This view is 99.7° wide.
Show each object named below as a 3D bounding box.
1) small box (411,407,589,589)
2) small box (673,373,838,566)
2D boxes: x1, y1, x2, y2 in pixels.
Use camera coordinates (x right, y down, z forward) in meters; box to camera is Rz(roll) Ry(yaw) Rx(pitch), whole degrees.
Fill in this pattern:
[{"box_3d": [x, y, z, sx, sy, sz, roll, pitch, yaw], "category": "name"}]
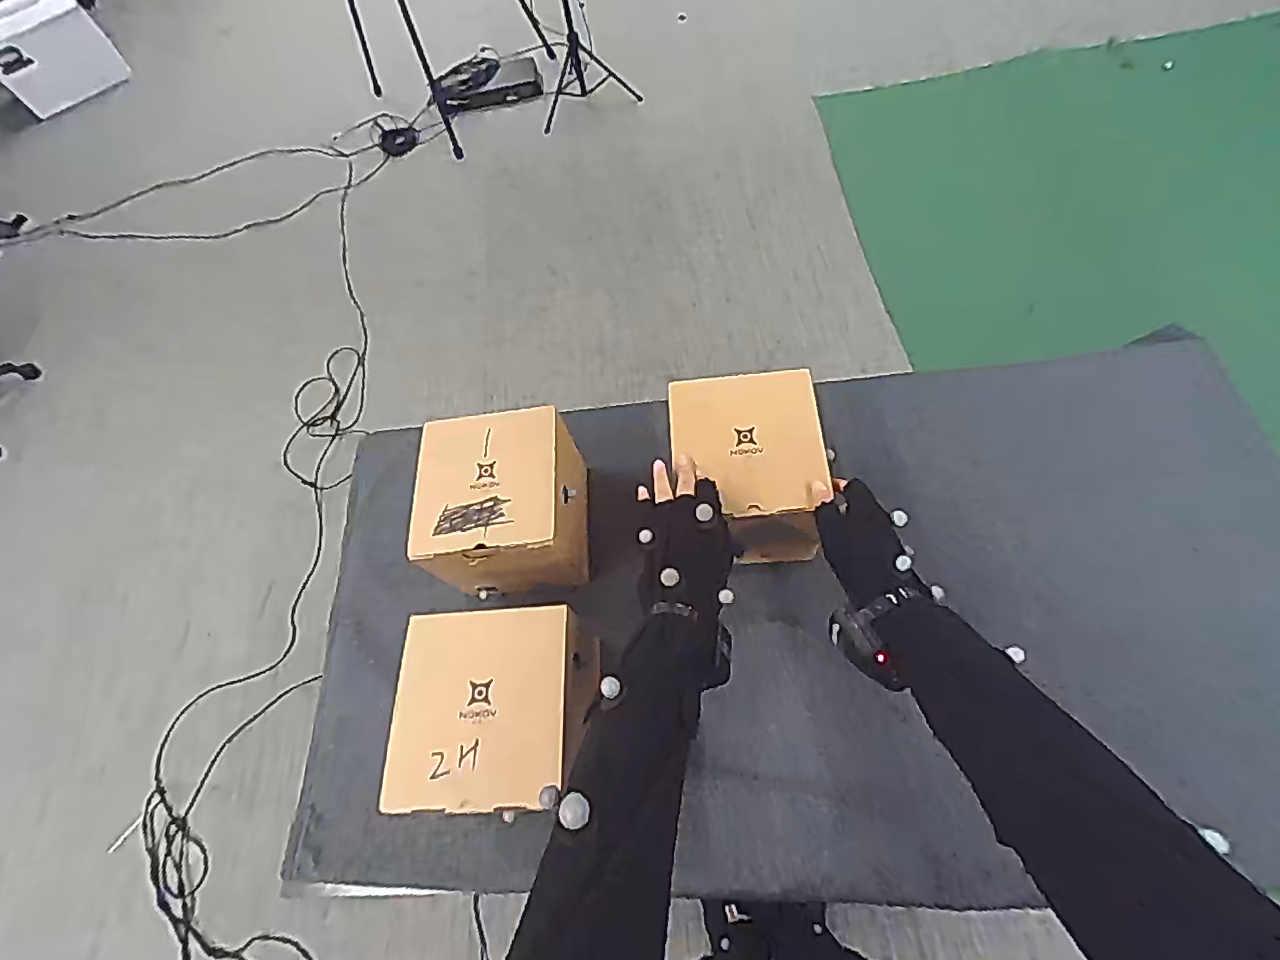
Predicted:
[{"box_3d": [-0.161, 0.033, 0.682, 0.168, 0.176, 0.179, -6, 63, 5], "category": "small box"}, {"box_3d": [0.129, -0.006, 0.663, 0.168, 0.176, 0.179, -5, 65, 6], "category": "small box"}]
